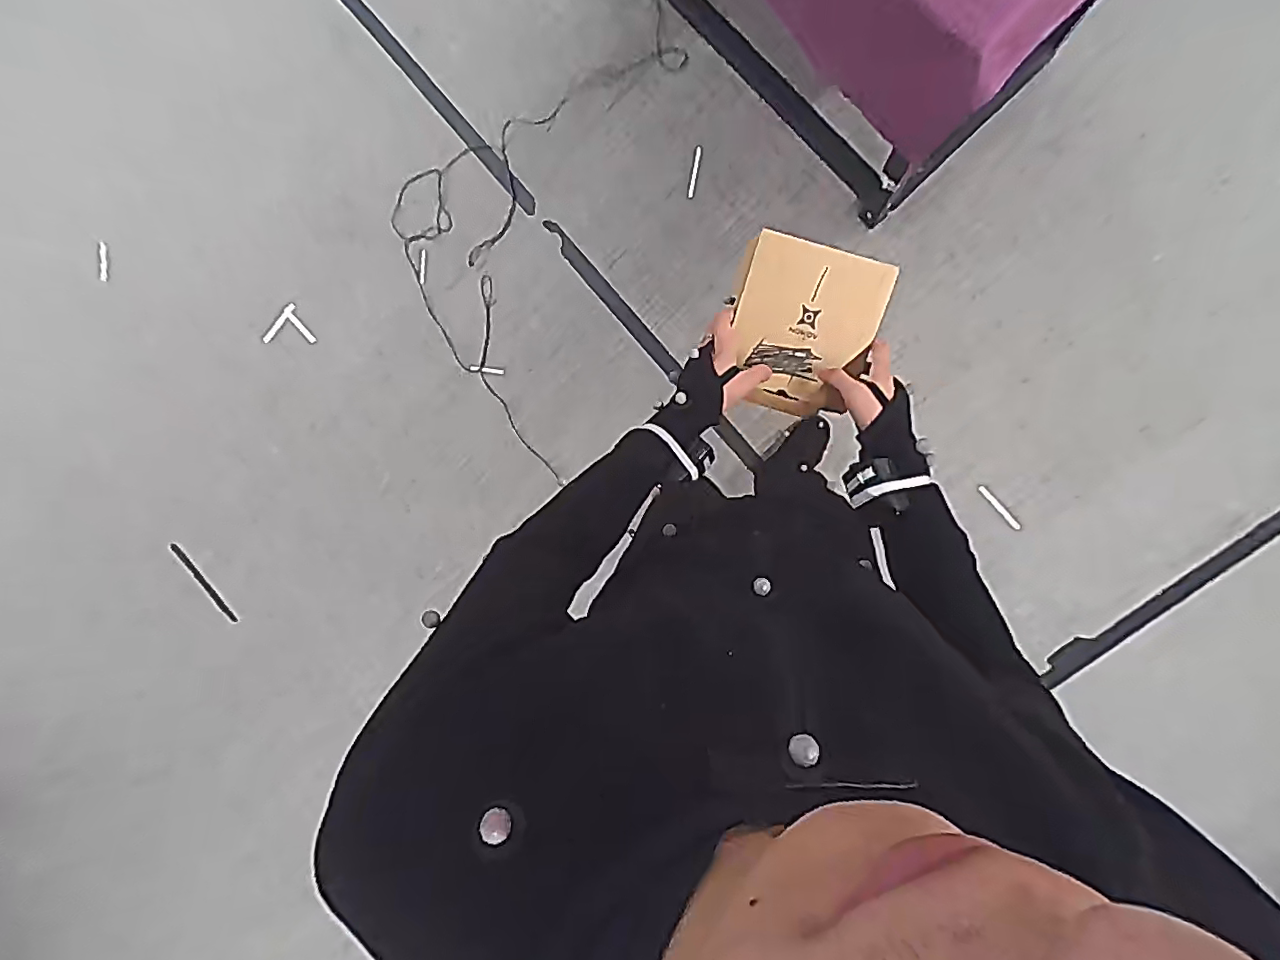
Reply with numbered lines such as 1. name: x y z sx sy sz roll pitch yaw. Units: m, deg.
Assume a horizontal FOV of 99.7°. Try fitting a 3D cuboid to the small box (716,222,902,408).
1. small box: 0.201 -0.208 0.706 0.168 0.176 0.179 16 105 -1
